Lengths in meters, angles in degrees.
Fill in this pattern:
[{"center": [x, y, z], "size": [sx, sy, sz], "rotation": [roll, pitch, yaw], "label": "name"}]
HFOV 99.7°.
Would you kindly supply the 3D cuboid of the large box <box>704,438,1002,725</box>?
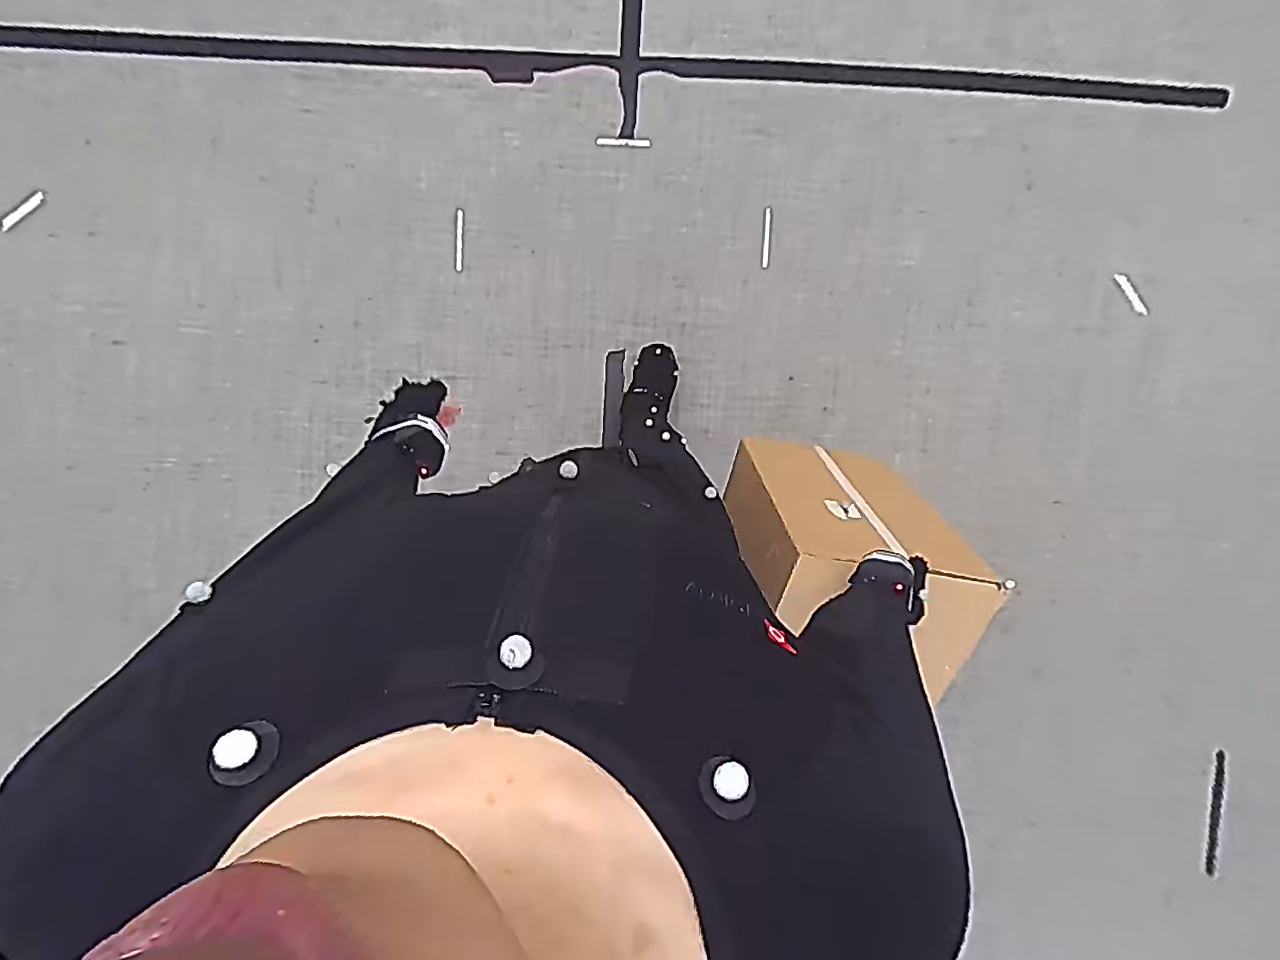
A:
[{"center": [0.329, 0.164, 0.988], "size": [0.320, 0.408, 0.320], "rotation": [9, 118, -7], "label": "large box"}]
